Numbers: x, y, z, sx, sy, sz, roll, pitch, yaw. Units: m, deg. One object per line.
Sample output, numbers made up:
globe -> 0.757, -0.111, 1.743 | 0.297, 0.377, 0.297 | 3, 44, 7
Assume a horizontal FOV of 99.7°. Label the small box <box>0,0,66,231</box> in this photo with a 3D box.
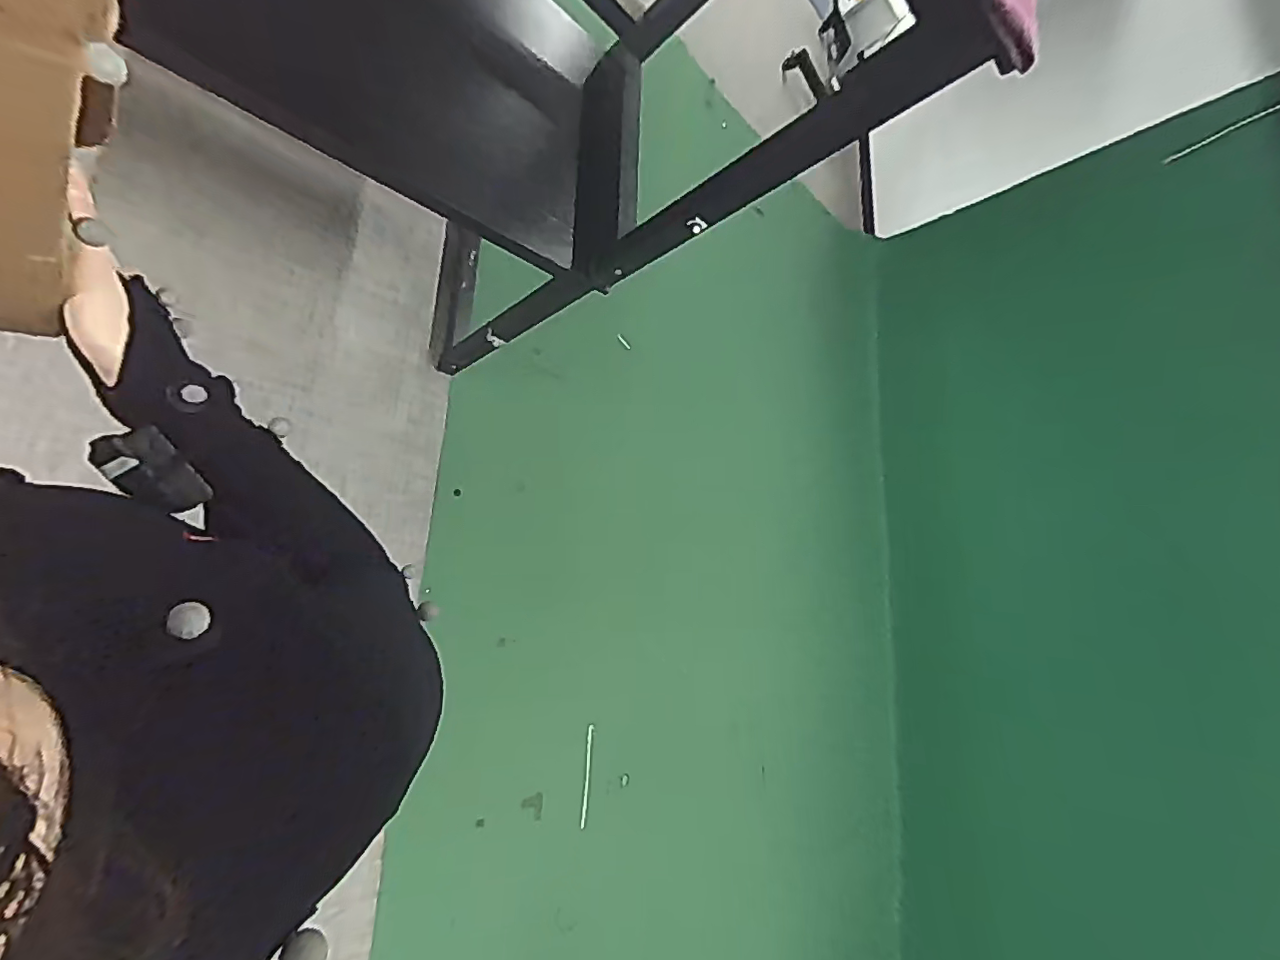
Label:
small box -> -0.278, -0.195, 0.141 | 0.179, 0.176, 0.168 | 2, 84, -49
